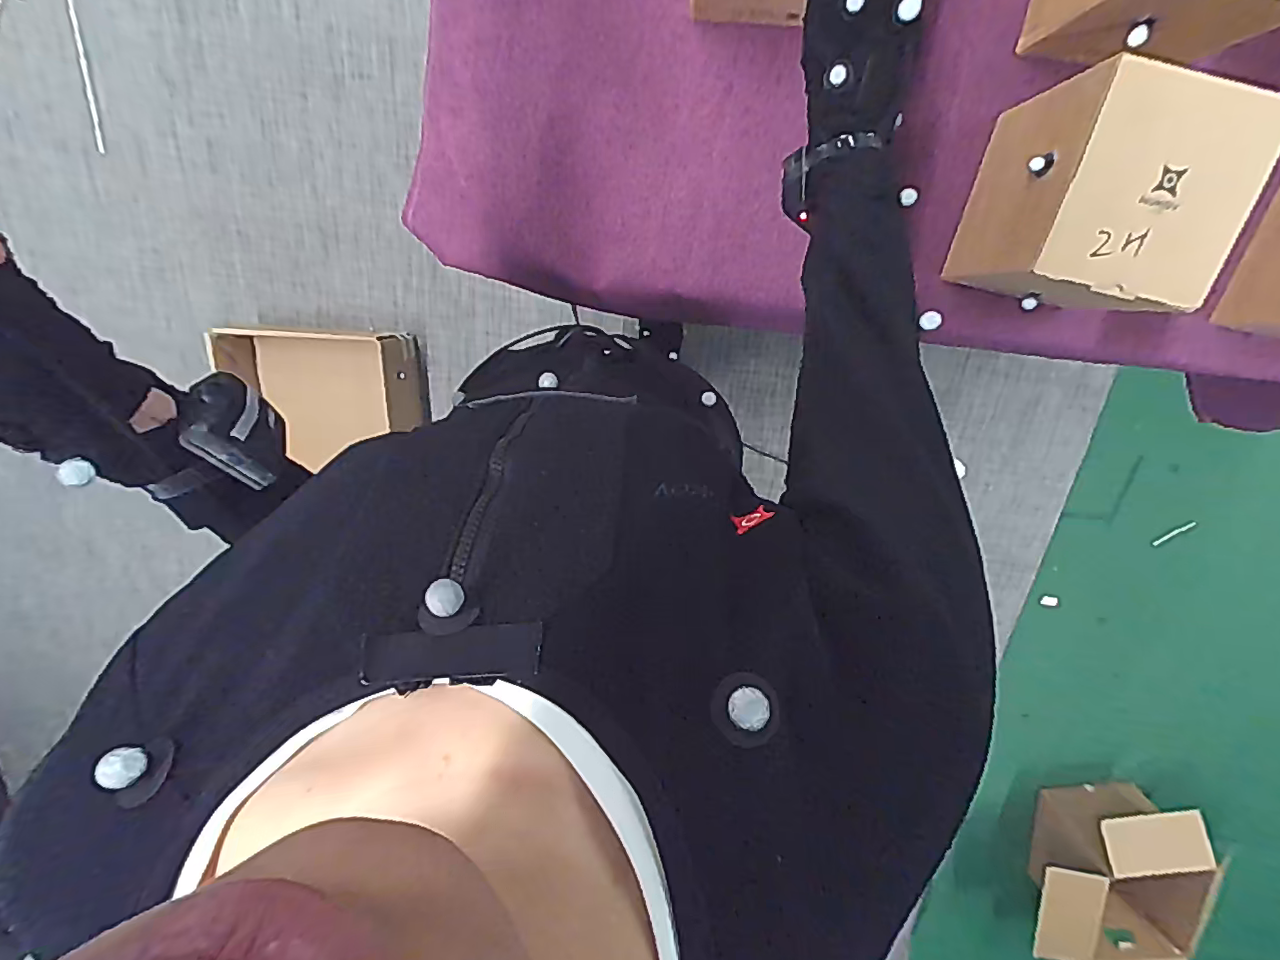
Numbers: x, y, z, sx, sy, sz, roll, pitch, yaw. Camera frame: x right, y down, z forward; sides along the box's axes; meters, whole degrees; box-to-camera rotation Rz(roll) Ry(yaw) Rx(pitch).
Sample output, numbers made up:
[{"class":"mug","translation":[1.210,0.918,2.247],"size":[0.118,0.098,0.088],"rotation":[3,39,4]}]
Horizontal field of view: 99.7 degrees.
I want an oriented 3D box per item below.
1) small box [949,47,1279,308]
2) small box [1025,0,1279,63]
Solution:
[{"class":"small box","translation":[0.453,-0.281,0.544],"size":[0.168,0.176,0.179],"rotation":[12,109,-3]},{"class":"small box","translation":[0.485,-0.495,0.472],"size":[0.168,0.176,0.179],"rotation":[6,109,-1]}]
